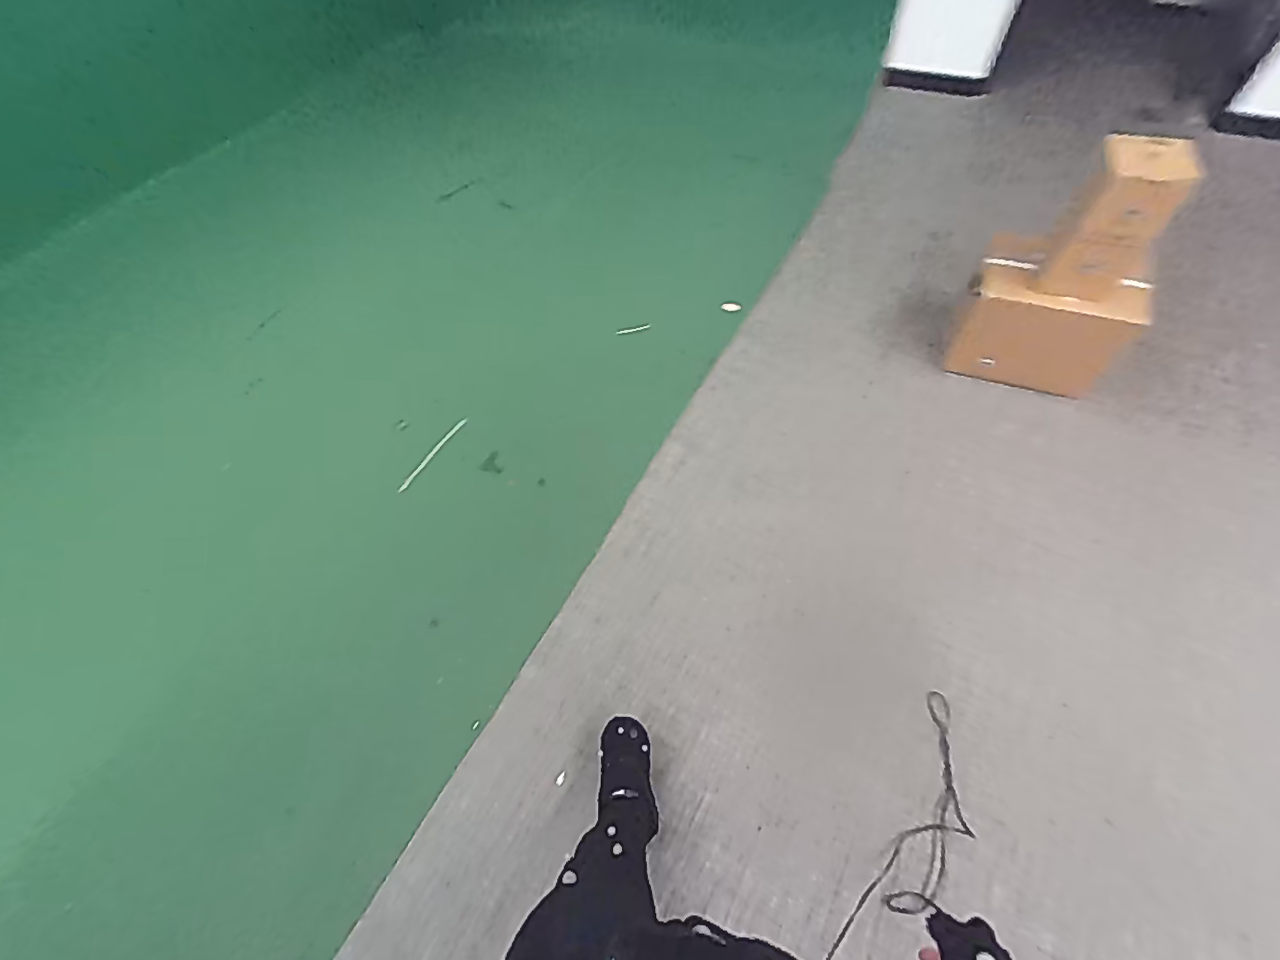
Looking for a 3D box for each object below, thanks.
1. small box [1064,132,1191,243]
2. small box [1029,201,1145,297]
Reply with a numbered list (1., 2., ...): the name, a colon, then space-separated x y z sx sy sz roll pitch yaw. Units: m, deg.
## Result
1. small box: 1.165 -0.703 1.307 0.168 0.176 0.179 14 62 14
2. small box: 1.180 -0.613 1.443 0.179 0.176 0.168 13 61 11
